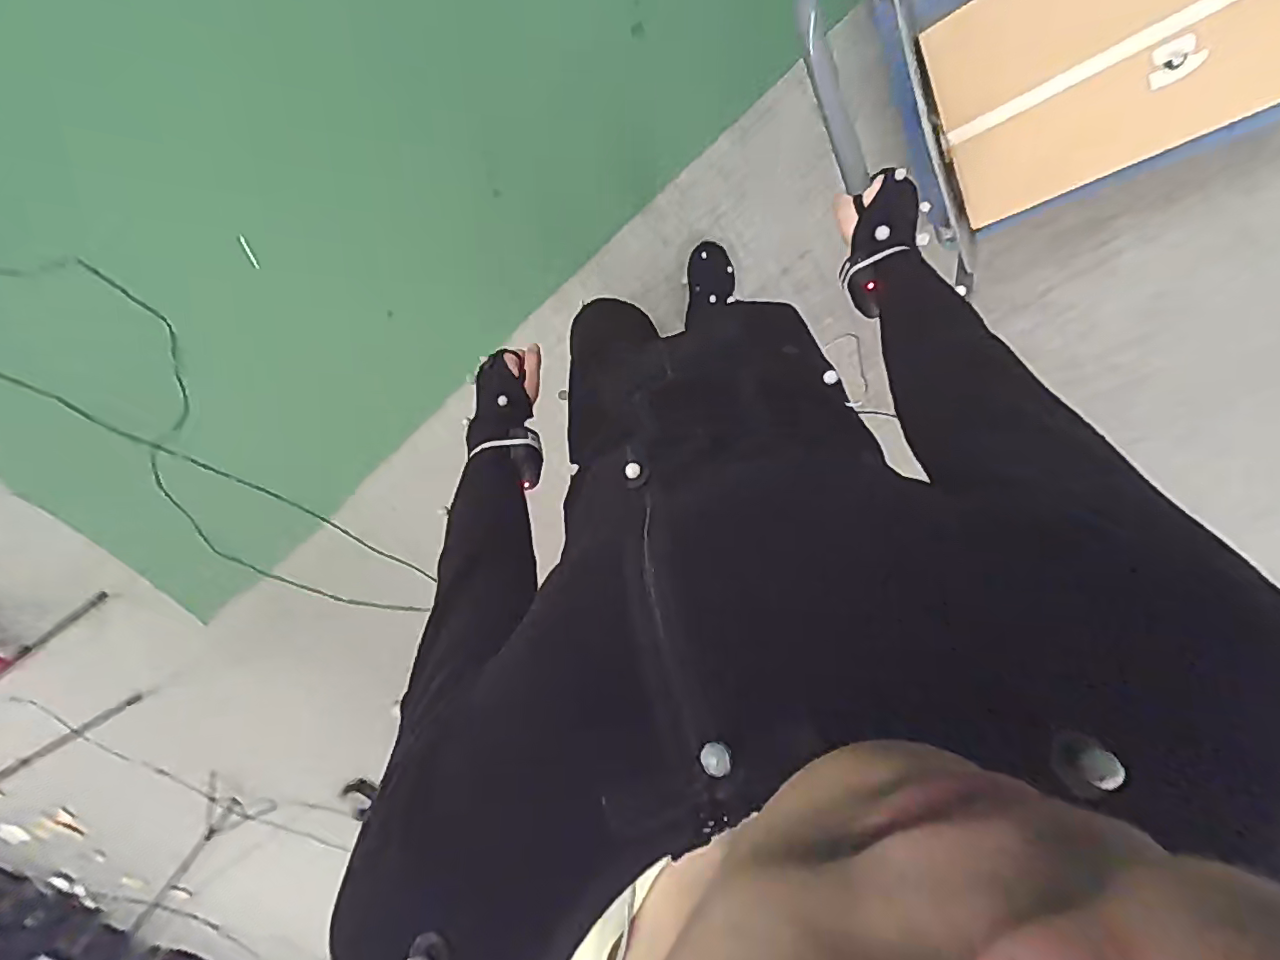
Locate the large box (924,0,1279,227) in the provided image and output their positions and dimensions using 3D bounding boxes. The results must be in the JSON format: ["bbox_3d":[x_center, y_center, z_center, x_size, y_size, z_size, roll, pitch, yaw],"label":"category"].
[{"bbox_3d":[0.715,-0.675,0.861,0.408,0.320,0.320,-15,117,35],"label":"large box"}]
